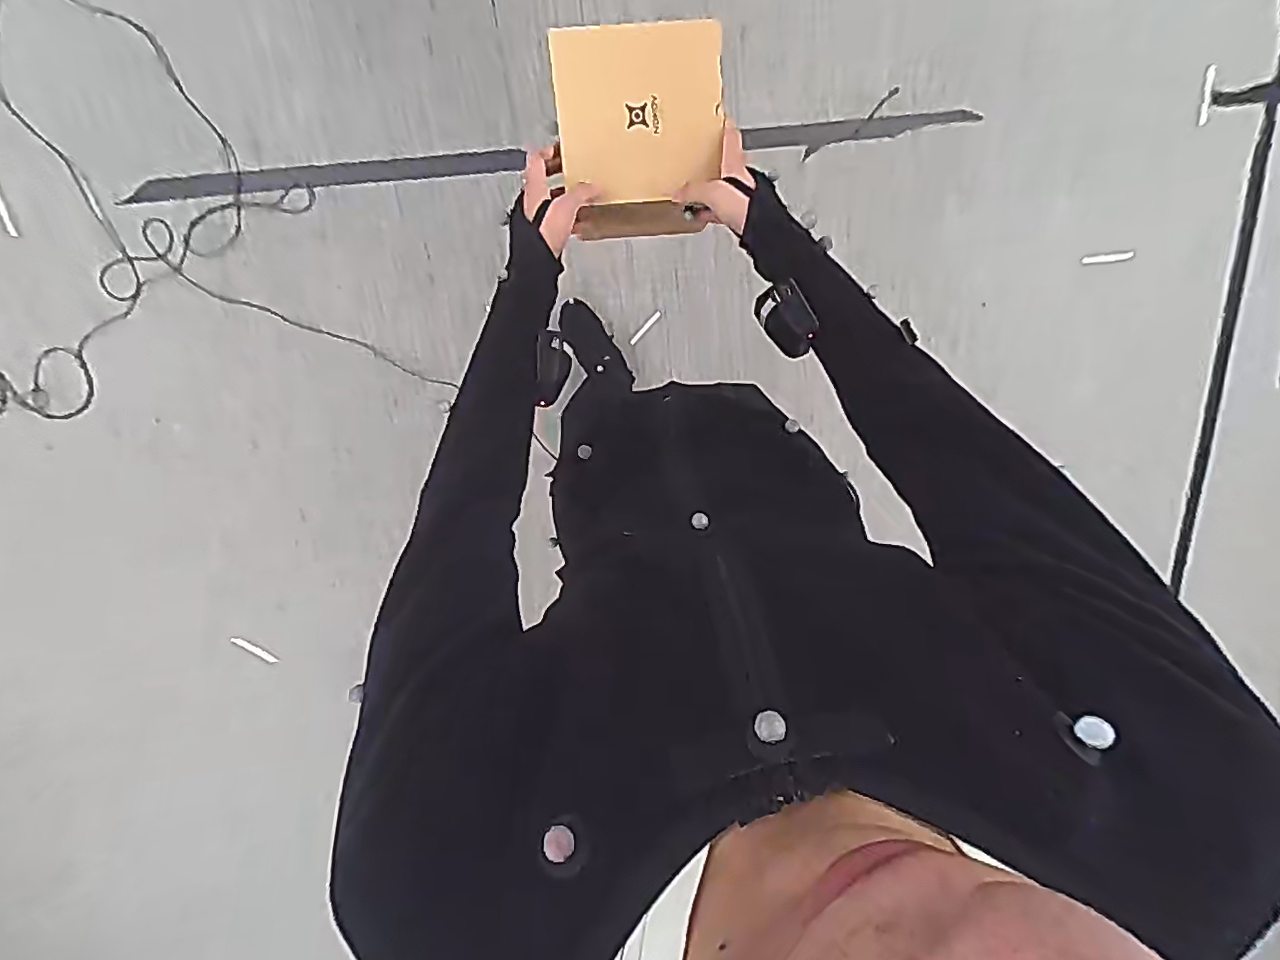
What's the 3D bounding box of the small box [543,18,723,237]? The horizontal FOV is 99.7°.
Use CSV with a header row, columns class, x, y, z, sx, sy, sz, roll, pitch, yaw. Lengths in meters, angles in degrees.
class,x,y,z,sx,sy,sz,roll,pitch,yaw
small box,-0.009,-0.392,0.631,0.179,0.176,0.168,-6,103,-4
